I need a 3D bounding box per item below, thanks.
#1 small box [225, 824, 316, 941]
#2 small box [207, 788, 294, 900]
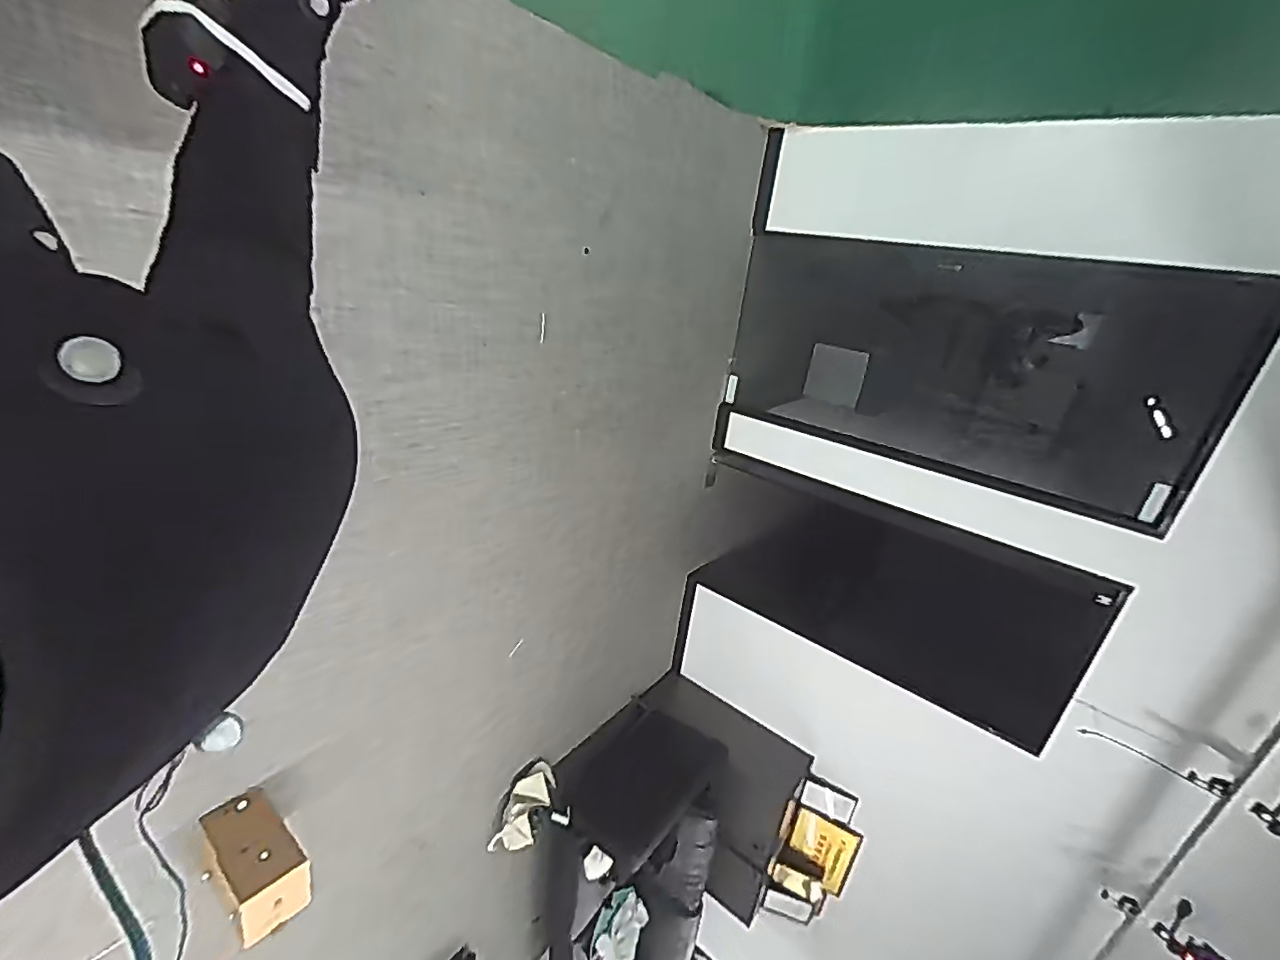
[{"bbox_3d":[-1.033,1.108,1.513,0.168,0.176,0.179,-16,122,-52],"label":"small box"},{"bbox_3d":[-1.148,1.064,1.595,0.168,0.176,0.179,-13,119,-53],"label":"small box"}]
